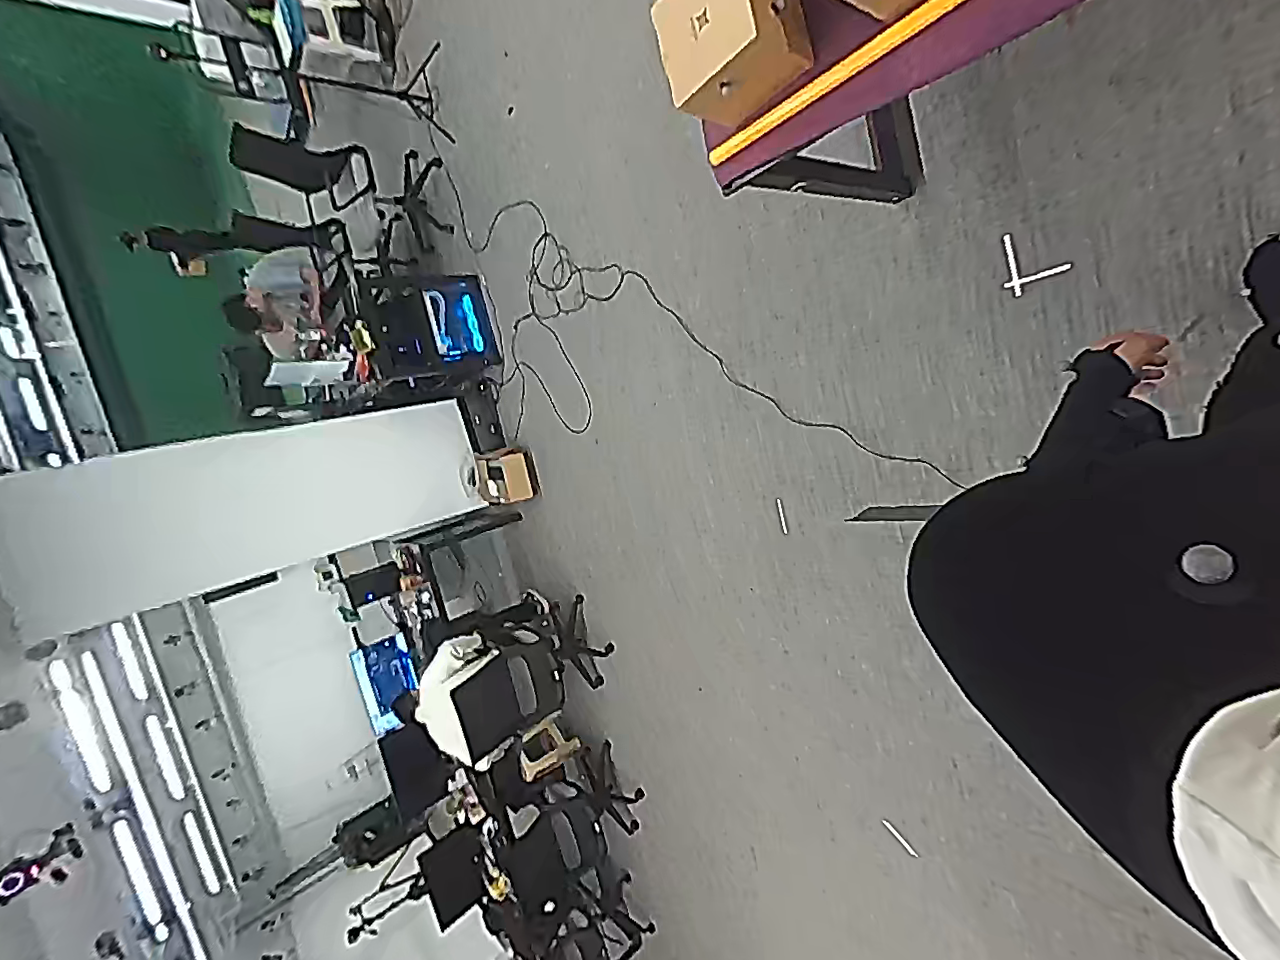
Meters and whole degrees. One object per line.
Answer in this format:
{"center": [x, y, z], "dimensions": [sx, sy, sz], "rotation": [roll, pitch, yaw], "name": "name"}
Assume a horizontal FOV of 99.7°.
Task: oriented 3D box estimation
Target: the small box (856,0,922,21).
{"center": [0.327, -0.728, 0.667], "dimensions": [0.168, 0.176, 0.179], "rotation": [-6, 100, 52], "name": "small box"}

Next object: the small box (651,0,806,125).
{"center": [0.151, -0.720, 0.884], "dimensions": [0.179, 0.176, 0.168], "rotation": [-8, 98, 51], "name": "small box"}
